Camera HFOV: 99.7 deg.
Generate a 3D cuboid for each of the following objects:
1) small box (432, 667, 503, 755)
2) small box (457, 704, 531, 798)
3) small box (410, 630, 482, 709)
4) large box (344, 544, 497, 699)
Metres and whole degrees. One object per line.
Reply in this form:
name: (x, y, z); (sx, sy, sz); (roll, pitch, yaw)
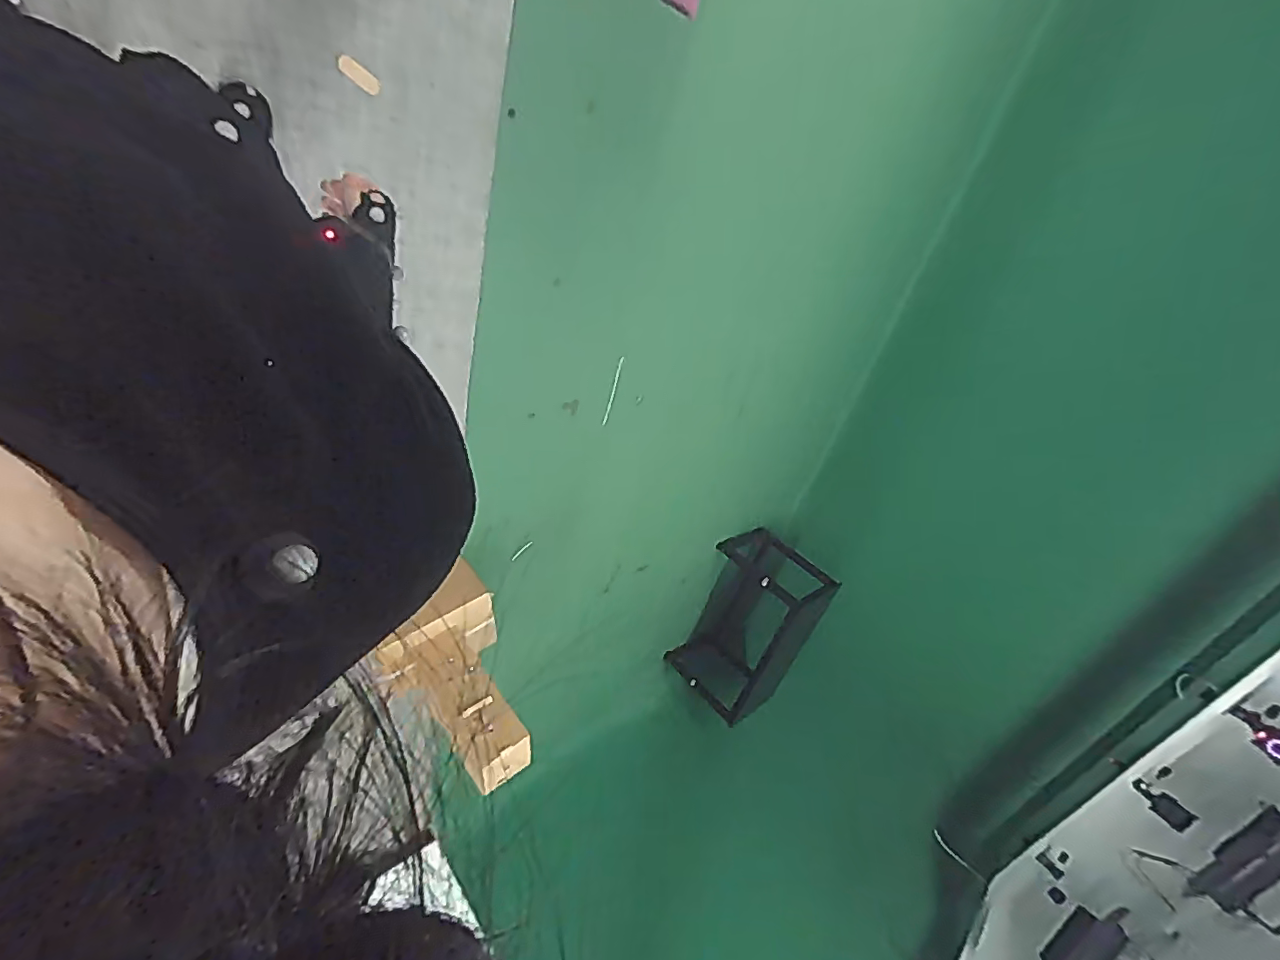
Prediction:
small box: (-0.563, 0.742, 1.763); (0.168, 0.176, 0.179); (-22, 136, -36)
small box: (-0.454, 0.828, 1.676); (0.168, 0.176, 0.179); (-23, 135, -35)
small box: (-0.662, 0.649, 1.856); (0.179, 0.176, 0.168); (-23, 136, -35)
large box: (-0.800, 0.510, 2.005); (0.408, 0.320, 0.320); (-28, 141, -33)
